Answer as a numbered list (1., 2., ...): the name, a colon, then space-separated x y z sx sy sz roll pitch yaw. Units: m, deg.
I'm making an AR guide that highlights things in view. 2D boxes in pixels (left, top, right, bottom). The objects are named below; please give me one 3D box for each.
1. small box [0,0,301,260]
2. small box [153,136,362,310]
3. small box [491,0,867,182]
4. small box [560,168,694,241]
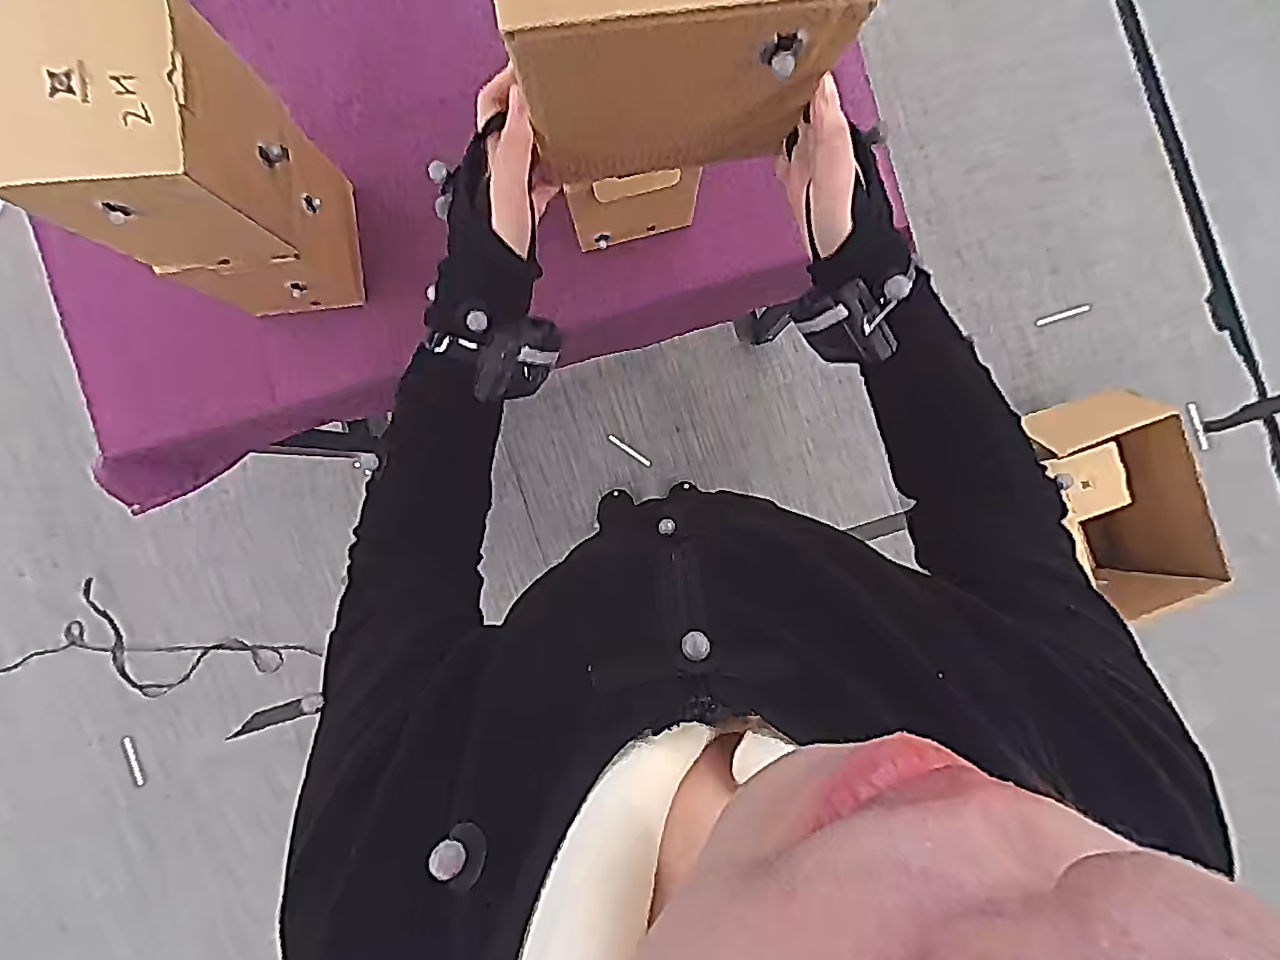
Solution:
1. small box: -0.475 -0.331 0.532 0.179 0.176 0.168 -5 91 -1
2. small box: -0.482 -0.329 0.696 0.168 0.176 0.179 -6 90 -1
3. small box: 0.008 -0.292 0.304 0.179 0.176 0.168 -9 99 -3
4. small box: -0.028 -0.431 0.696 0.168 0.176 0.179 -14 89 0
